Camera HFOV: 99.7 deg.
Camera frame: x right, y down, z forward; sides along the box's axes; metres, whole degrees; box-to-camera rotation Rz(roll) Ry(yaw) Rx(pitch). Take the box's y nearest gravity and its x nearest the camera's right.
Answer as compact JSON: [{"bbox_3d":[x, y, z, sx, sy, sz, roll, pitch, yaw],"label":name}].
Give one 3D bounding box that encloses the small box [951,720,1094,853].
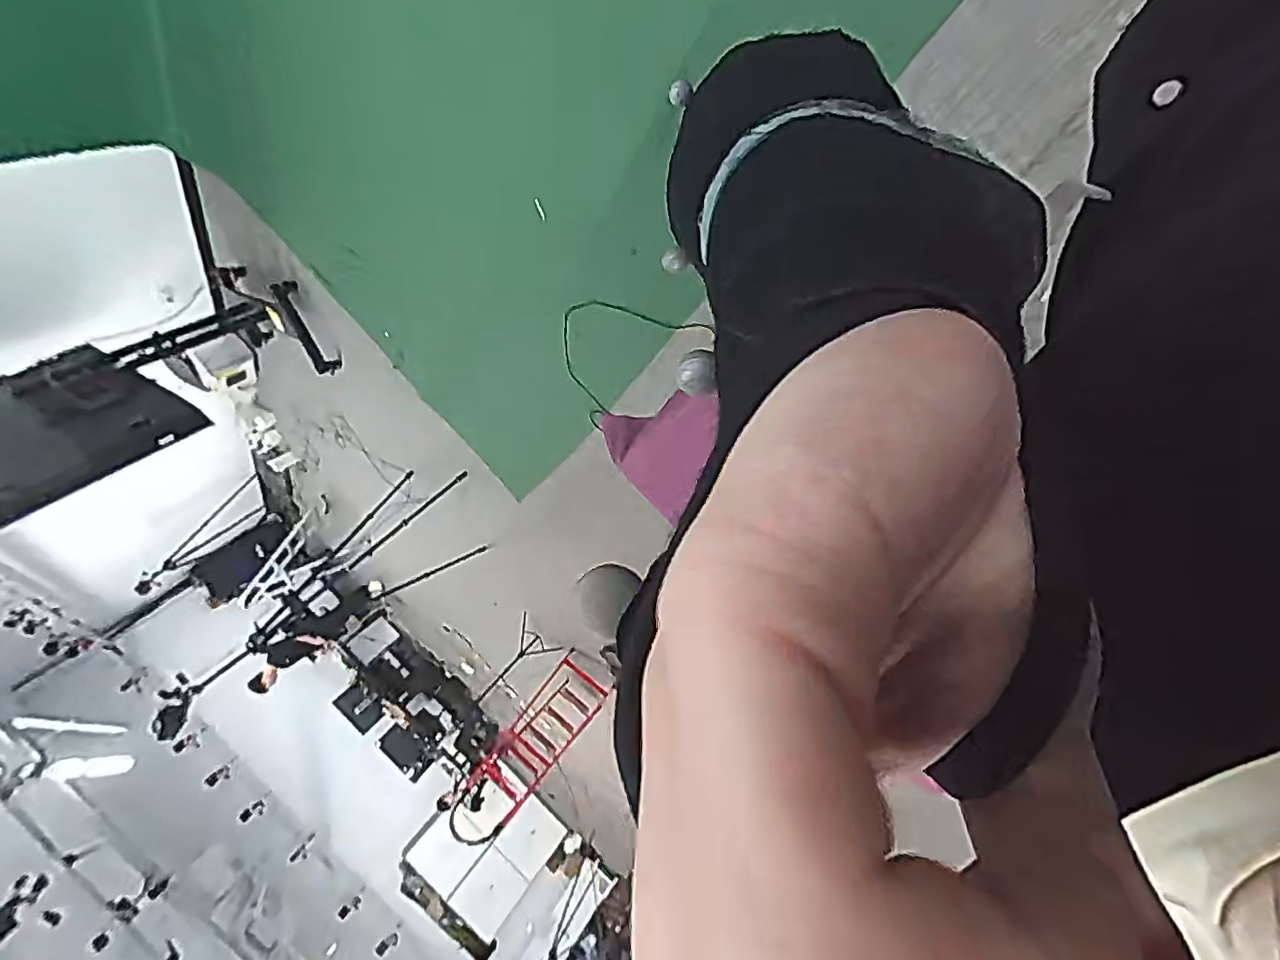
[{"bbox_3d":[0.792,0.625,1.117,0.168,0.176,0.179,44,142,1],"label":"small box"}]
